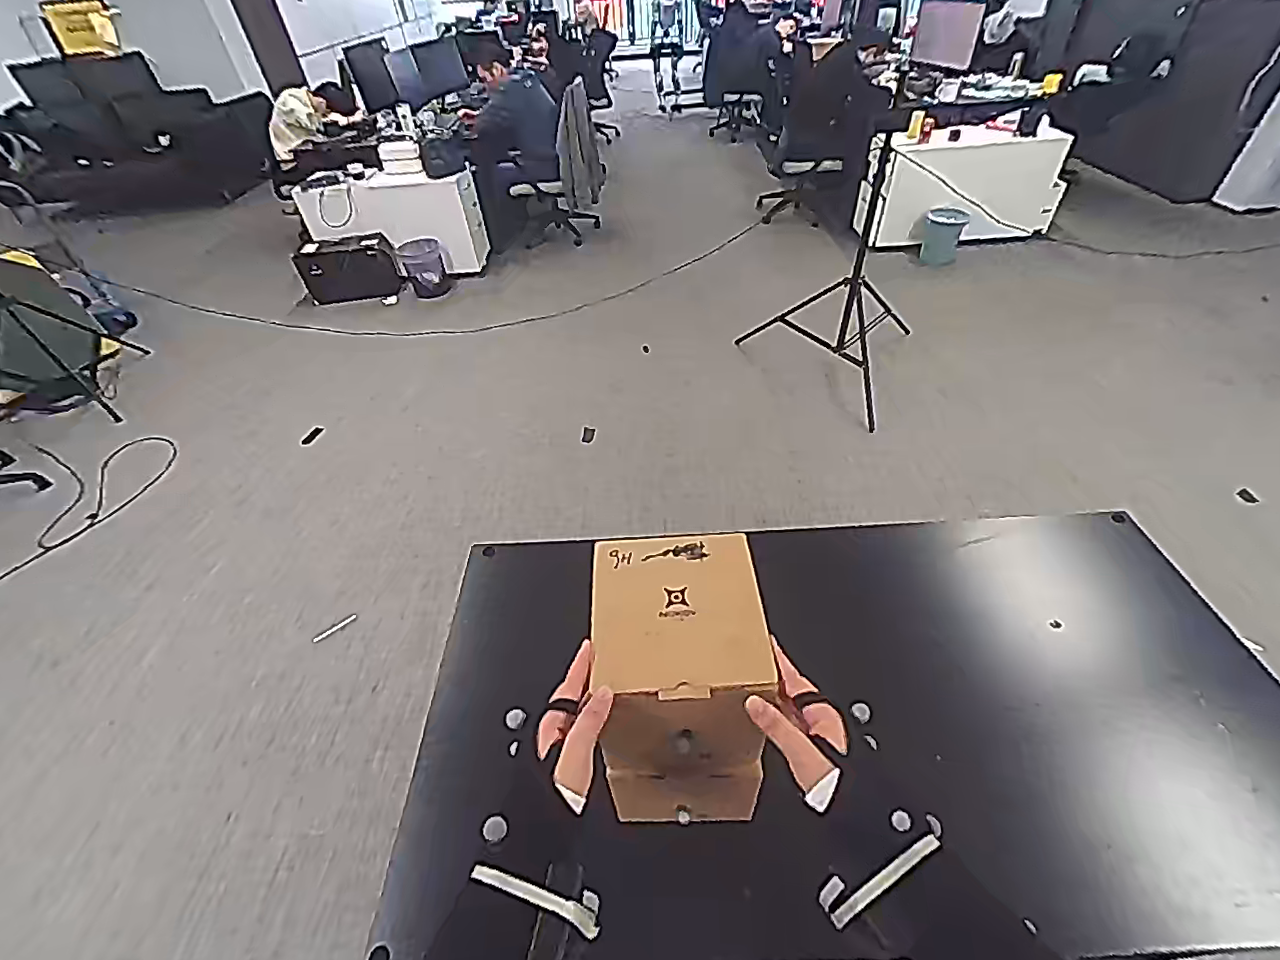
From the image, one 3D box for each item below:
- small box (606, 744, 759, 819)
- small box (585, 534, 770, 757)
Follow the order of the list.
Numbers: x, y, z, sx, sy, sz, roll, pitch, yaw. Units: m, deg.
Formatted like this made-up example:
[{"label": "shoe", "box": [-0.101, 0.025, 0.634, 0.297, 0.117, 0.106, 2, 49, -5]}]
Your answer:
[{"label": "small box", "box": [0.051, 0.307, 0.687, 0.168, 0.176, 0.179, -3, 44, 3]}, {"label": "small box", "box": [0.037, 0.182, 0.581, 0.168, 0.176, 0.179, -4, 44, 1]}]
